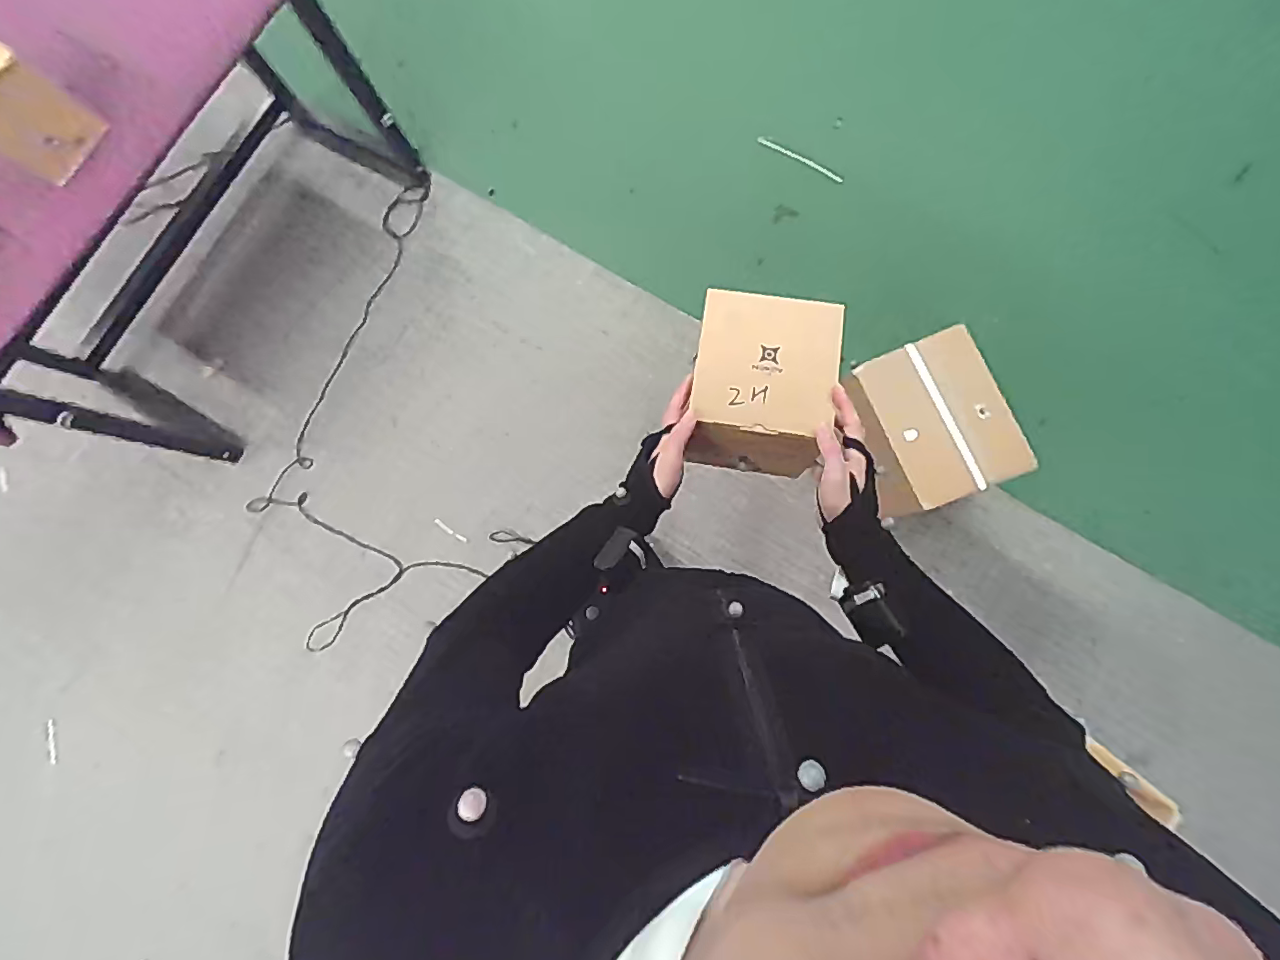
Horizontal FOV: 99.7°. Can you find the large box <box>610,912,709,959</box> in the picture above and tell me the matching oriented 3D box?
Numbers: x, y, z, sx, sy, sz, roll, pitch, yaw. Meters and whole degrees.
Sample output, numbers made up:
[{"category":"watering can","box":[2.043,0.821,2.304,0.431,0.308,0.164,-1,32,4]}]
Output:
[{"category":"large box","box":[0.021,1.418,1.340,0.408,0.320,0.320,-34,82,-3]}]

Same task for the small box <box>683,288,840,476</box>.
[{"category":"small box","box":[0.148,-0.119,0.704,0.168,0.176,0.179,8,76,5]}]

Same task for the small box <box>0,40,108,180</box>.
[{"category":"small box","box":[-1.205,-0.720,1.034,0.179,0.176,0.168,32,85,7]}]
